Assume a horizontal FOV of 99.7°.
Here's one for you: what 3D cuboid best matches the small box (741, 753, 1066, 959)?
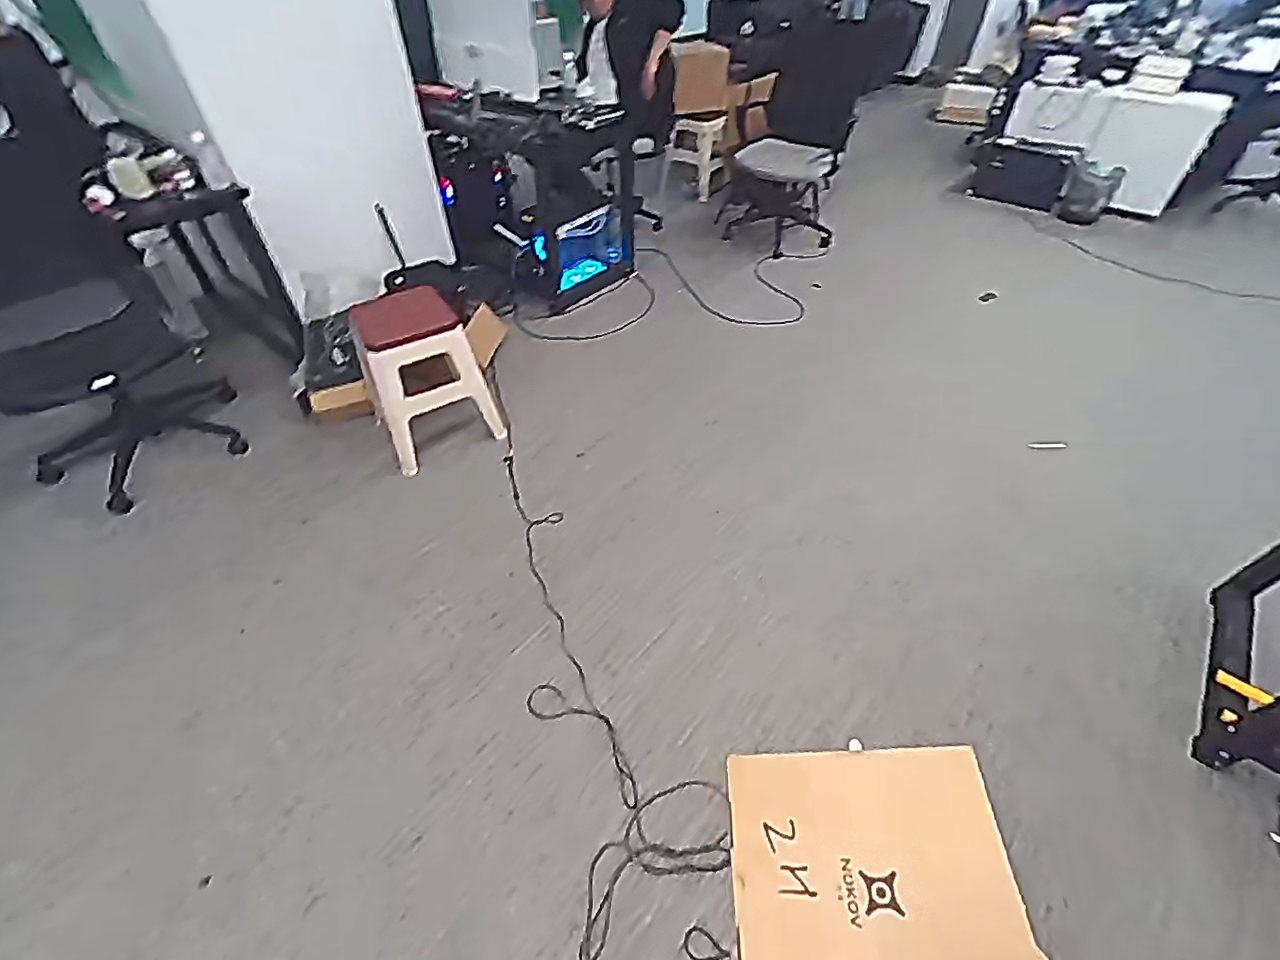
[{"bbox_3d":[0.179,0.307,0.396,0.179,0.176,0.168,-10,49,16],"label":"small box"}]
